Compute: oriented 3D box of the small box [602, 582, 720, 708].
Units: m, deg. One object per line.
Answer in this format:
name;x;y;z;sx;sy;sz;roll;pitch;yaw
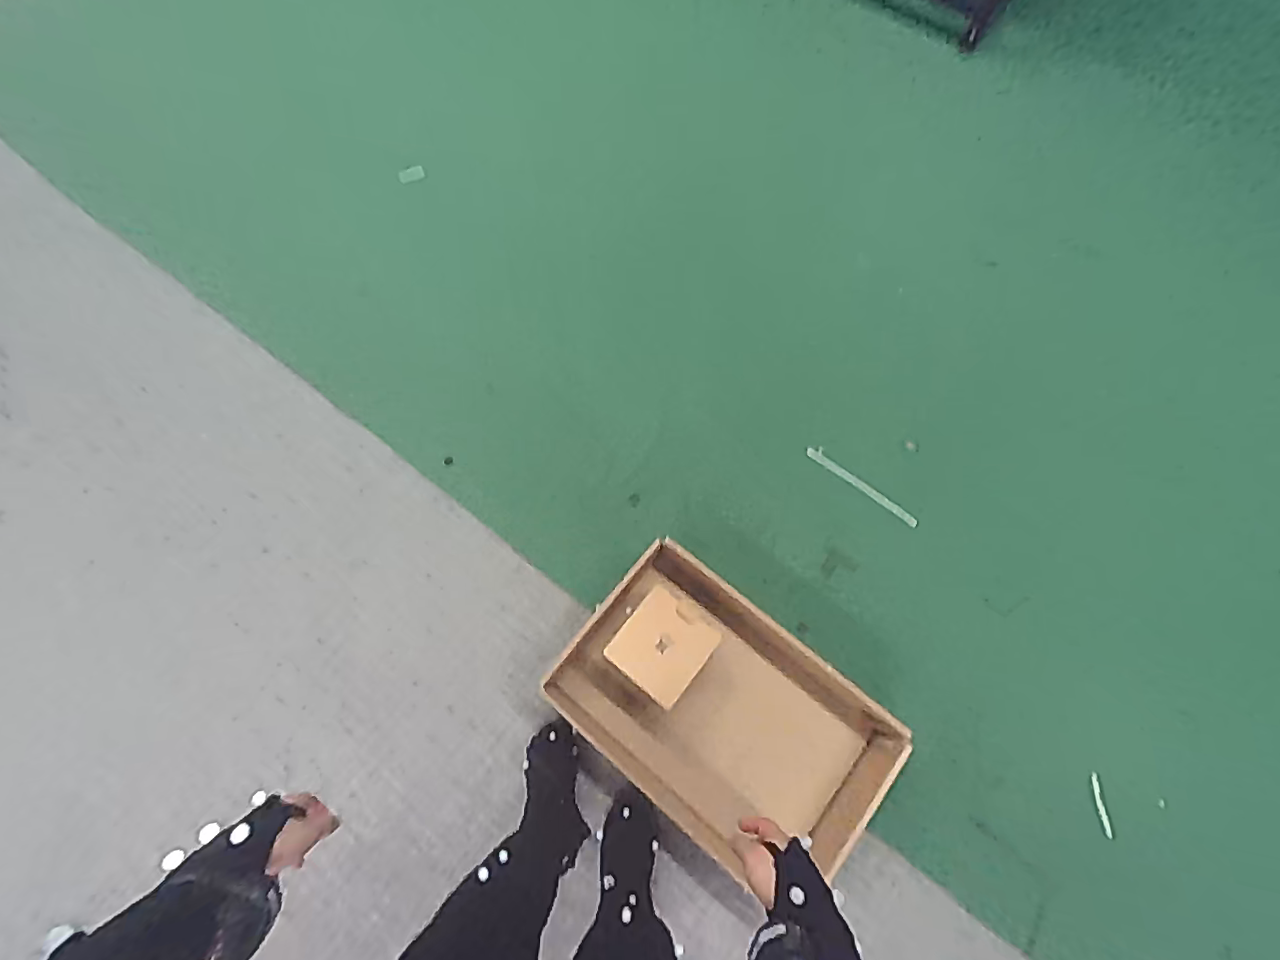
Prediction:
small box;0.043;0.336;1.112;0.168;0.176;0.179;37;77;10
